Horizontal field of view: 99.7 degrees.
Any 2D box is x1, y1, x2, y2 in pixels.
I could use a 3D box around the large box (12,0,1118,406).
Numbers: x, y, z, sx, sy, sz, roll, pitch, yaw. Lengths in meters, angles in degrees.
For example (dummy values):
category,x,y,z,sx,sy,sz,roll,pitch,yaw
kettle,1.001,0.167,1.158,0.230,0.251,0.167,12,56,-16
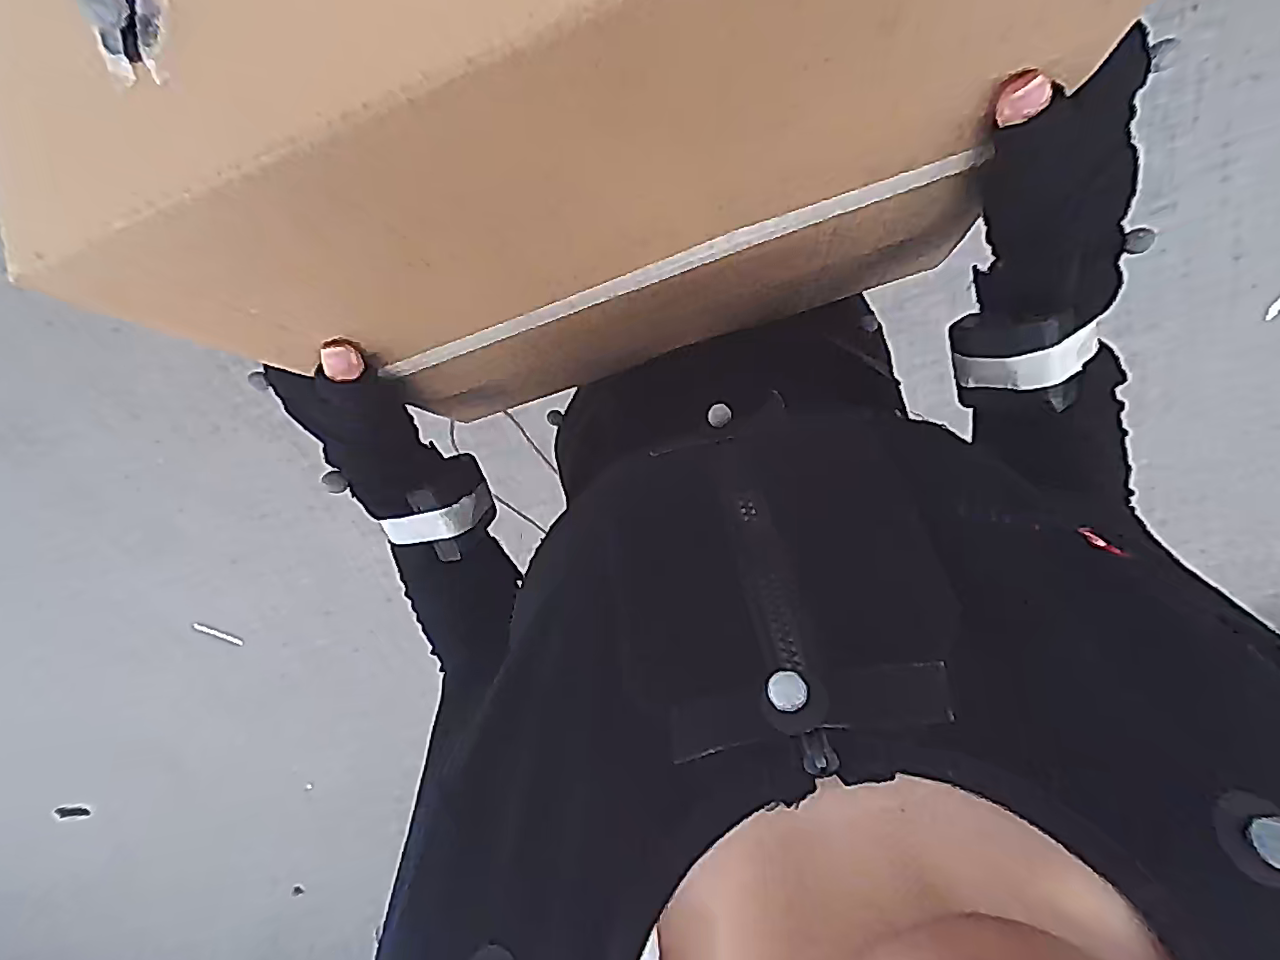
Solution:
category,x,y,z,sx,sy,sz,roll,pitch,yaw
large box,-0.034,-0.274,0.316,0.408,0.320,0.320,-17,85,9
